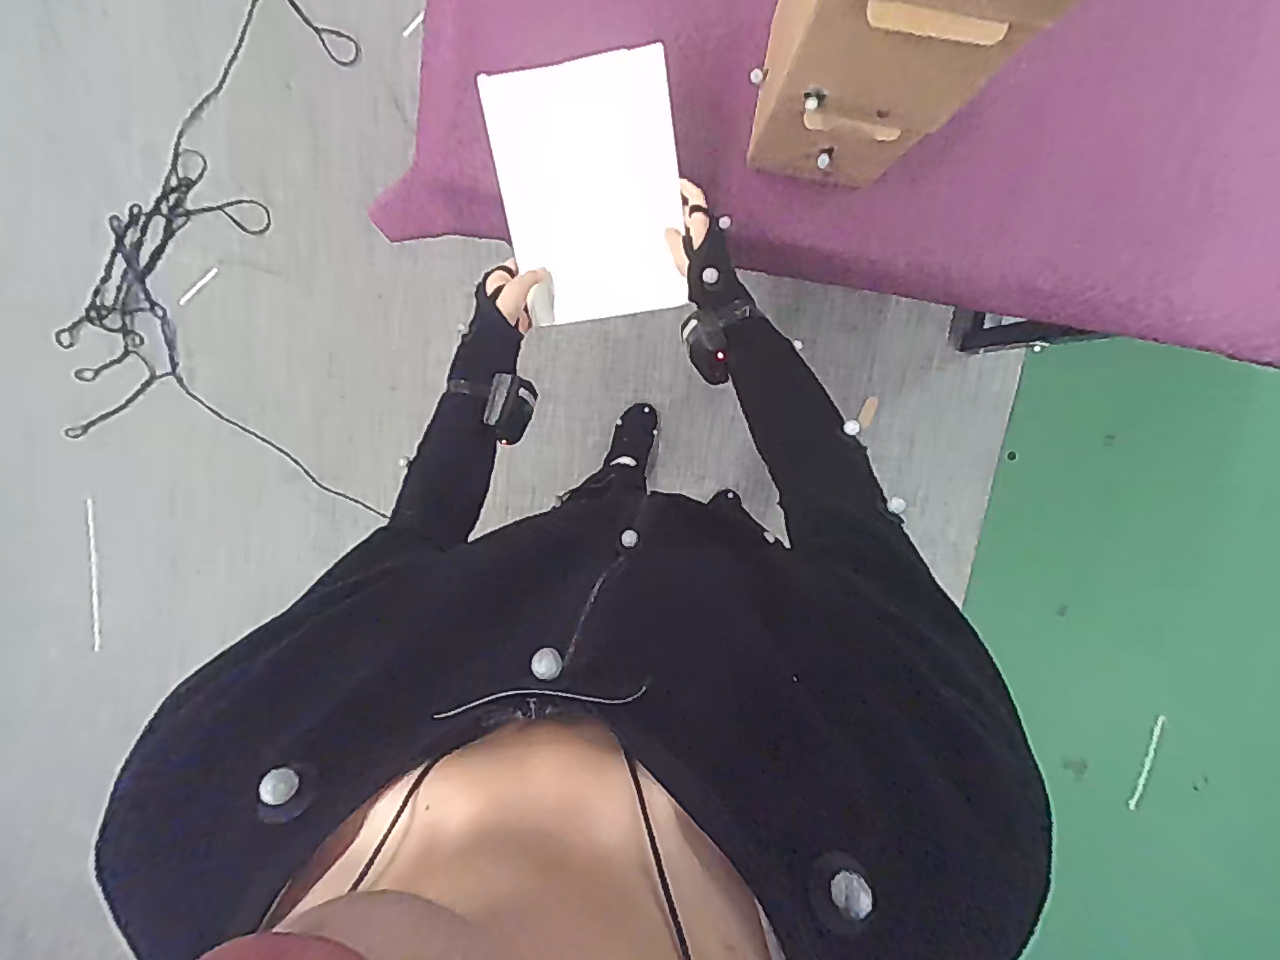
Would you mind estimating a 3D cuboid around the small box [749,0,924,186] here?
[{"bbox_3d":[0.230,-0.465,0.620,0.168,0.176,0.179,10,99,-1],"label":"small box"}]

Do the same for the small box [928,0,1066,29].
[{"bbox_3d":[0.225,-0.405,0.297,0.168,0.176,0.179,11,98,-2],"label":"small box"}]

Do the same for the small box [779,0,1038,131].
[{"bbox_3d":[0.227,-0.434,0.458,0.168,0.176,0.179,10,98,-1],"label":"small box"}]
